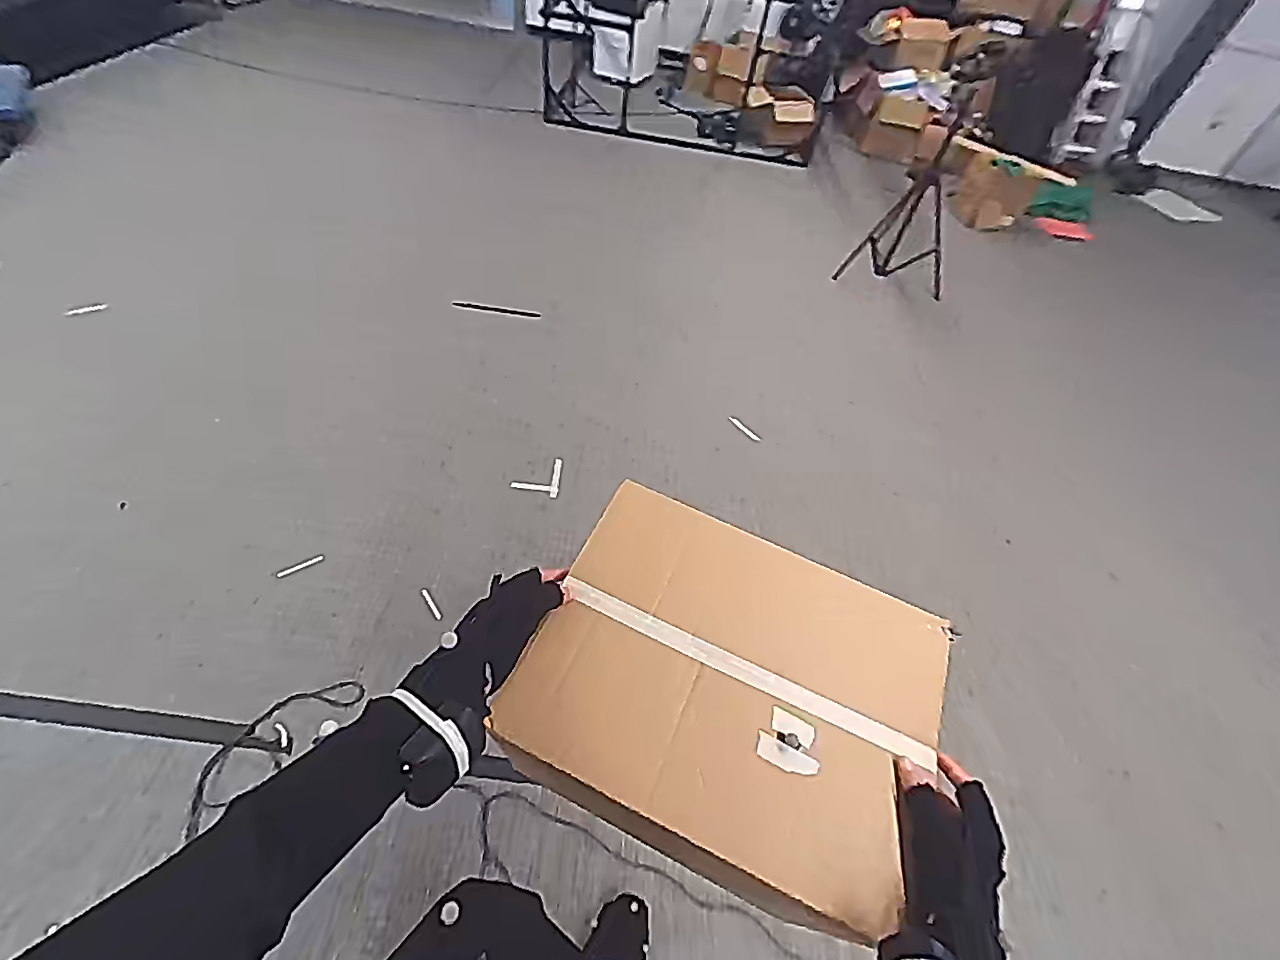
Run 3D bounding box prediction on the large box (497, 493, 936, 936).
[{"bbox_3d":[0.083,0.284,0.689,0.408,0.320,0.320,24,57,8],"label":"large box"}]
